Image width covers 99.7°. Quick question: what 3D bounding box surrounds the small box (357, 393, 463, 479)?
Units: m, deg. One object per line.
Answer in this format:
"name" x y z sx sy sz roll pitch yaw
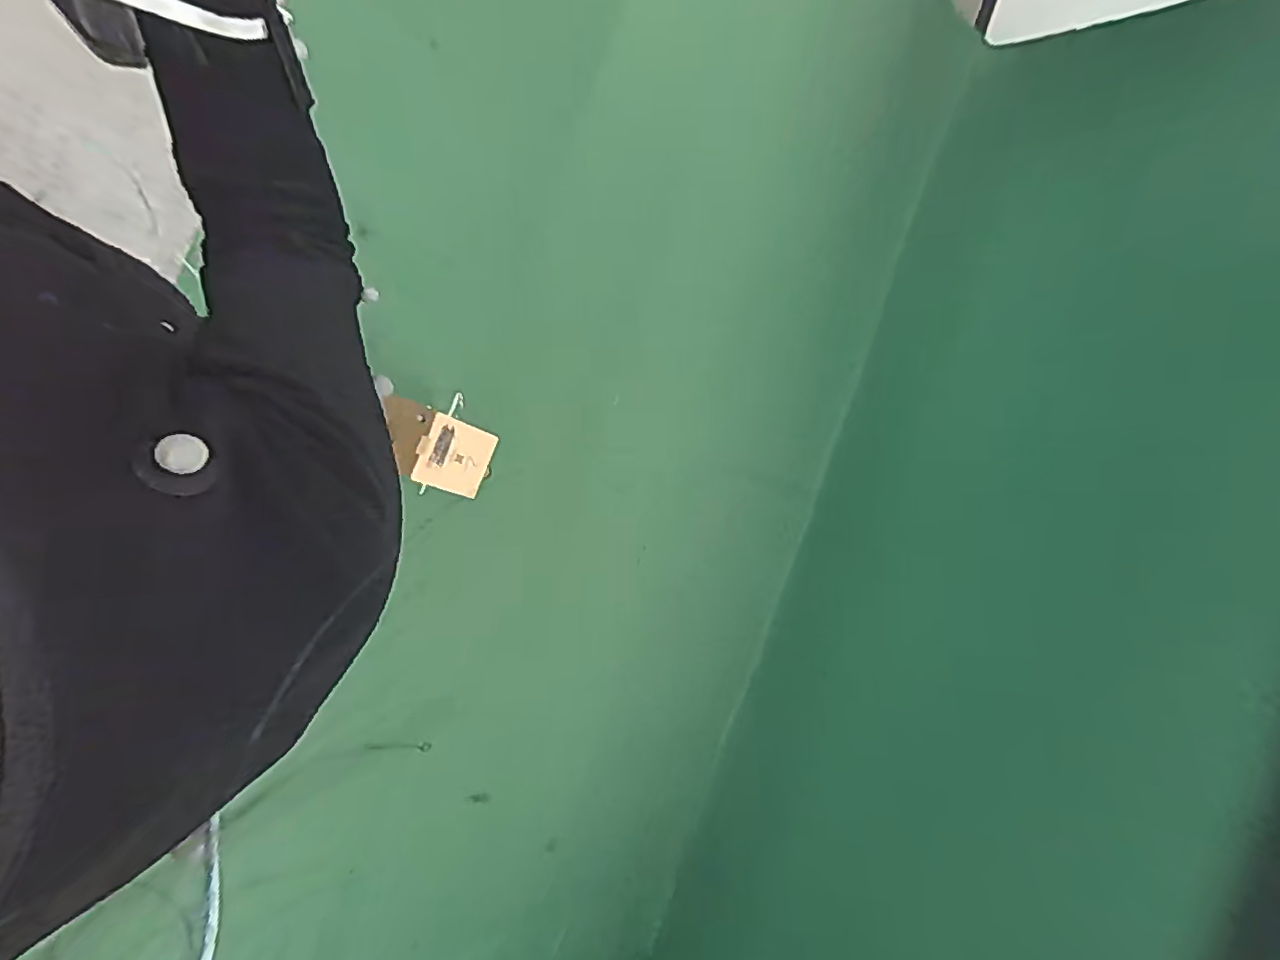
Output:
"small box" -0.611 -0.120 1.426 0.179 0.176 0.168 25 86 -49
